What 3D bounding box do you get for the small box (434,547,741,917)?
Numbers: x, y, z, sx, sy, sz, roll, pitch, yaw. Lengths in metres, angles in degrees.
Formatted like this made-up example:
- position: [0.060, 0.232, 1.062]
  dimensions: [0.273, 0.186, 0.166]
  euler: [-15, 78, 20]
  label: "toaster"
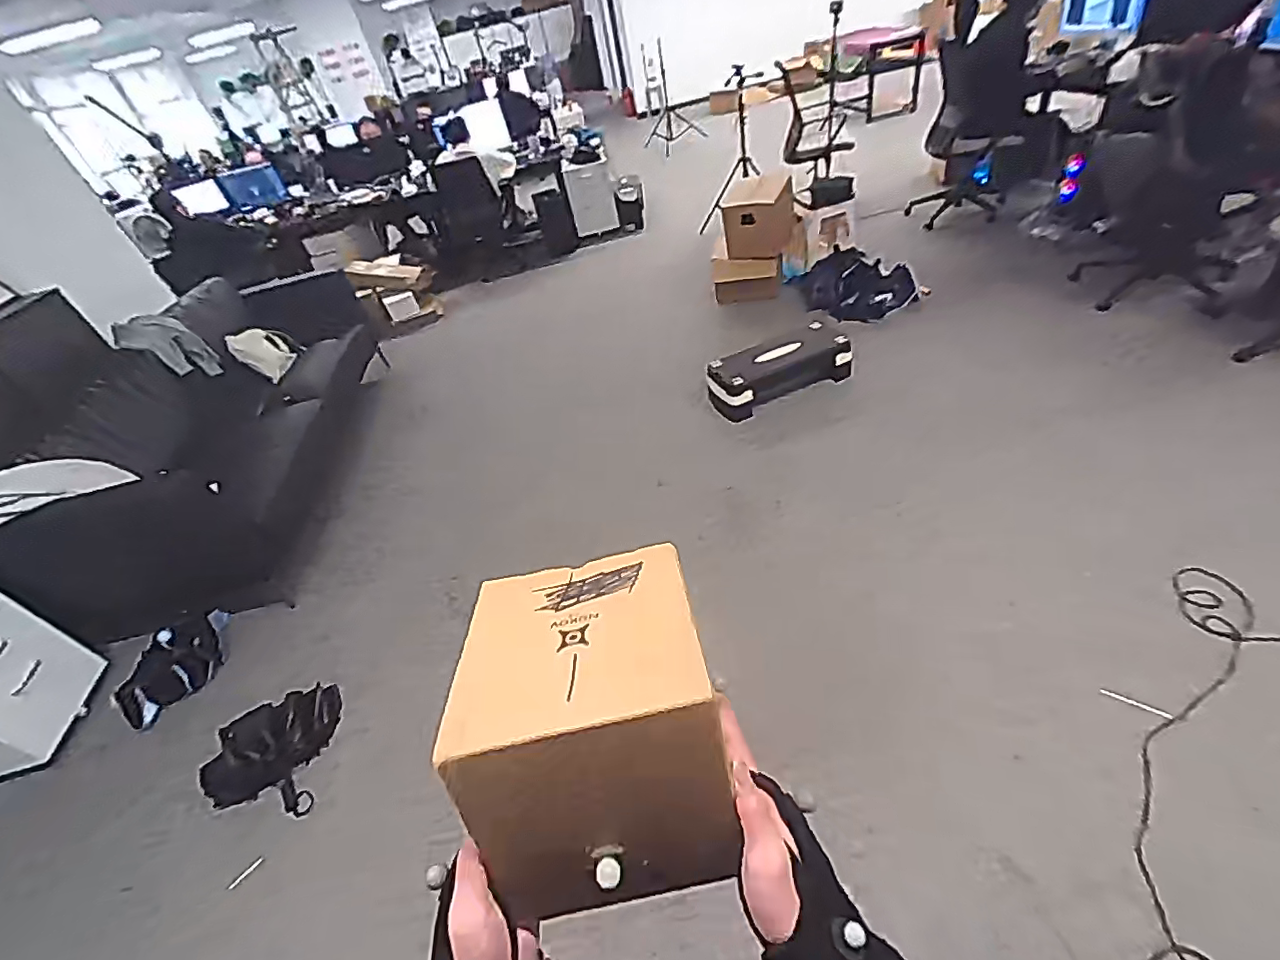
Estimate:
- position: [-0.029, 0.178, 0.414]
  dimensions: [0.168, 0.176, 0.179]
  euler: [-13, 23, 1]
  label: "small box"
